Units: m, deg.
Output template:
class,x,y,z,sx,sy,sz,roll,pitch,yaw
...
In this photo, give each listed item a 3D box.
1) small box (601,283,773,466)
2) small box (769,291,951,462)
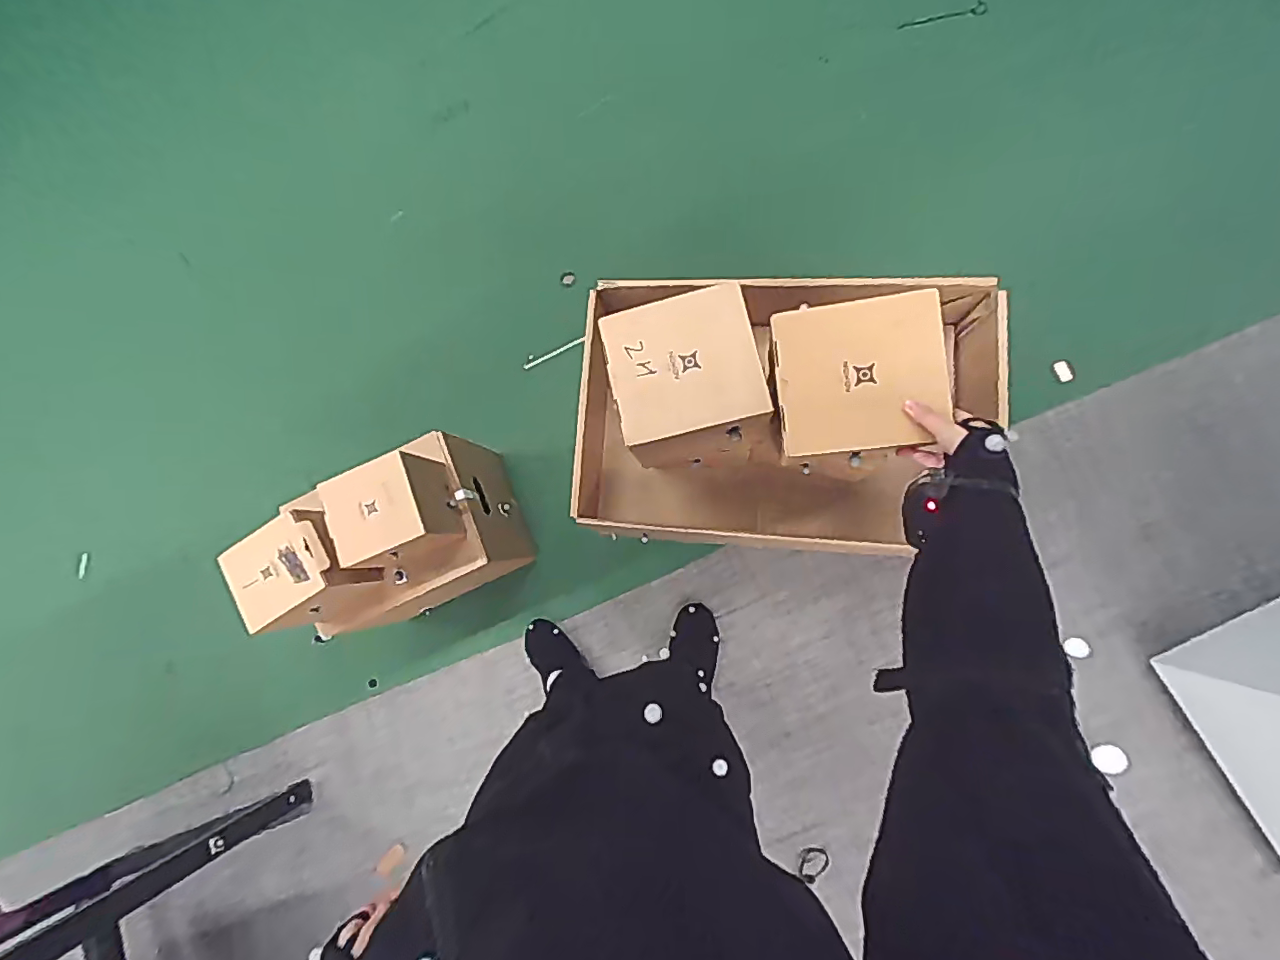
class,x,y,z,sx,sy,sz,roll,pitch,yaw
small box,0.062,-0.126,0.710,0.179,0.176,0.168,-14,80,7
small box,0.257,-0.114,0.671,0.179,0.176,0.168,-6,88,14
